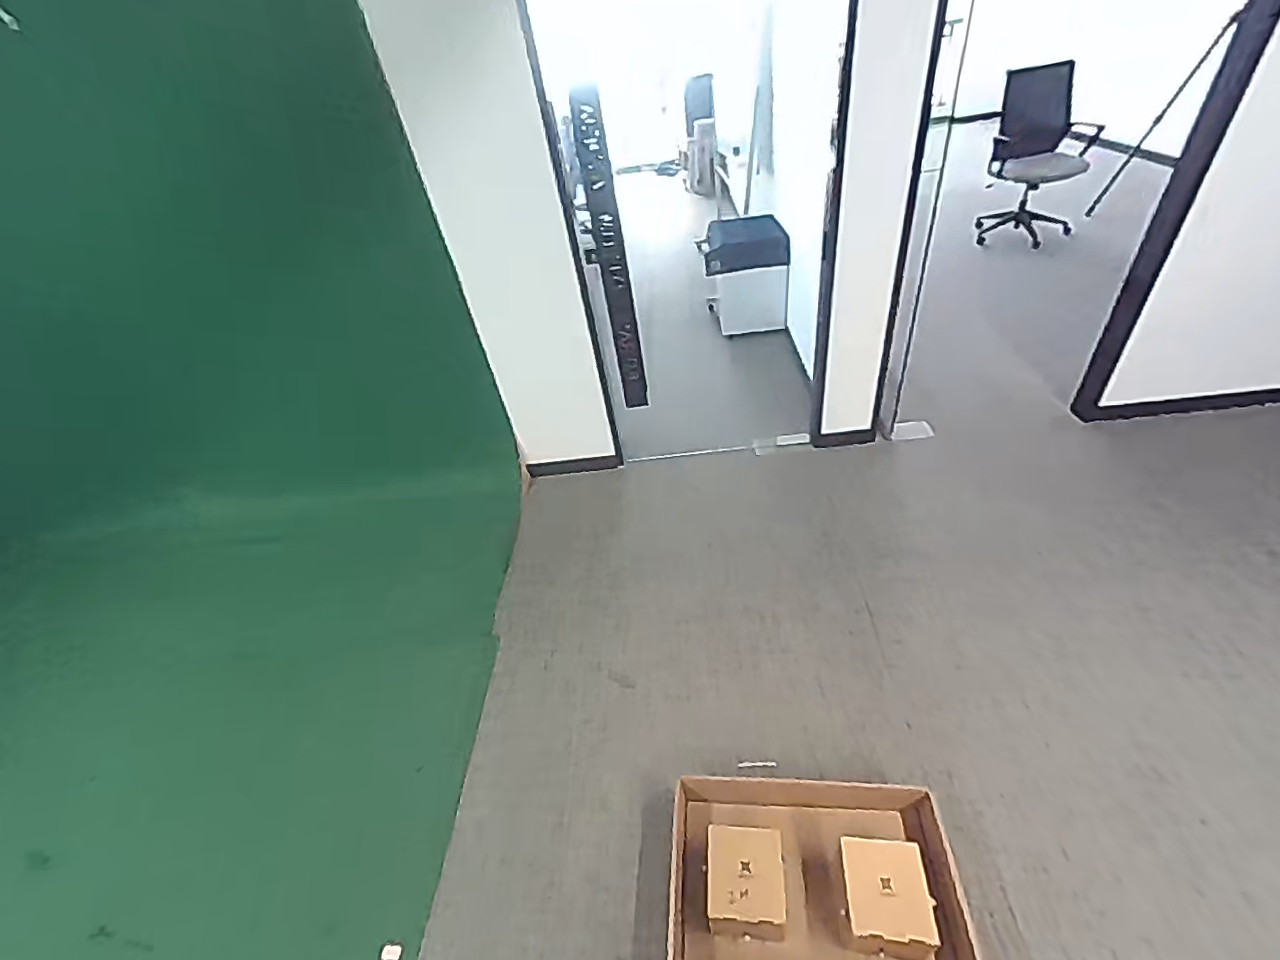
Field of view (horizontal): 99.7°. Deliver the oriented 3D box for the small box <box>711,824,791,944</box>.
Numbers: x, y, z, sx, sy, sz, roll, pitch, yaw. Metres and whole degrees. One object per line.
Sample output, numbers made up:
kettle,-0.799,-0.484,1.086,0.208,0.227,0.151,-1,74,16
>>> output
small box,0.250,0.921,1.235,0.168,0.176,0.179,-2,39,10
